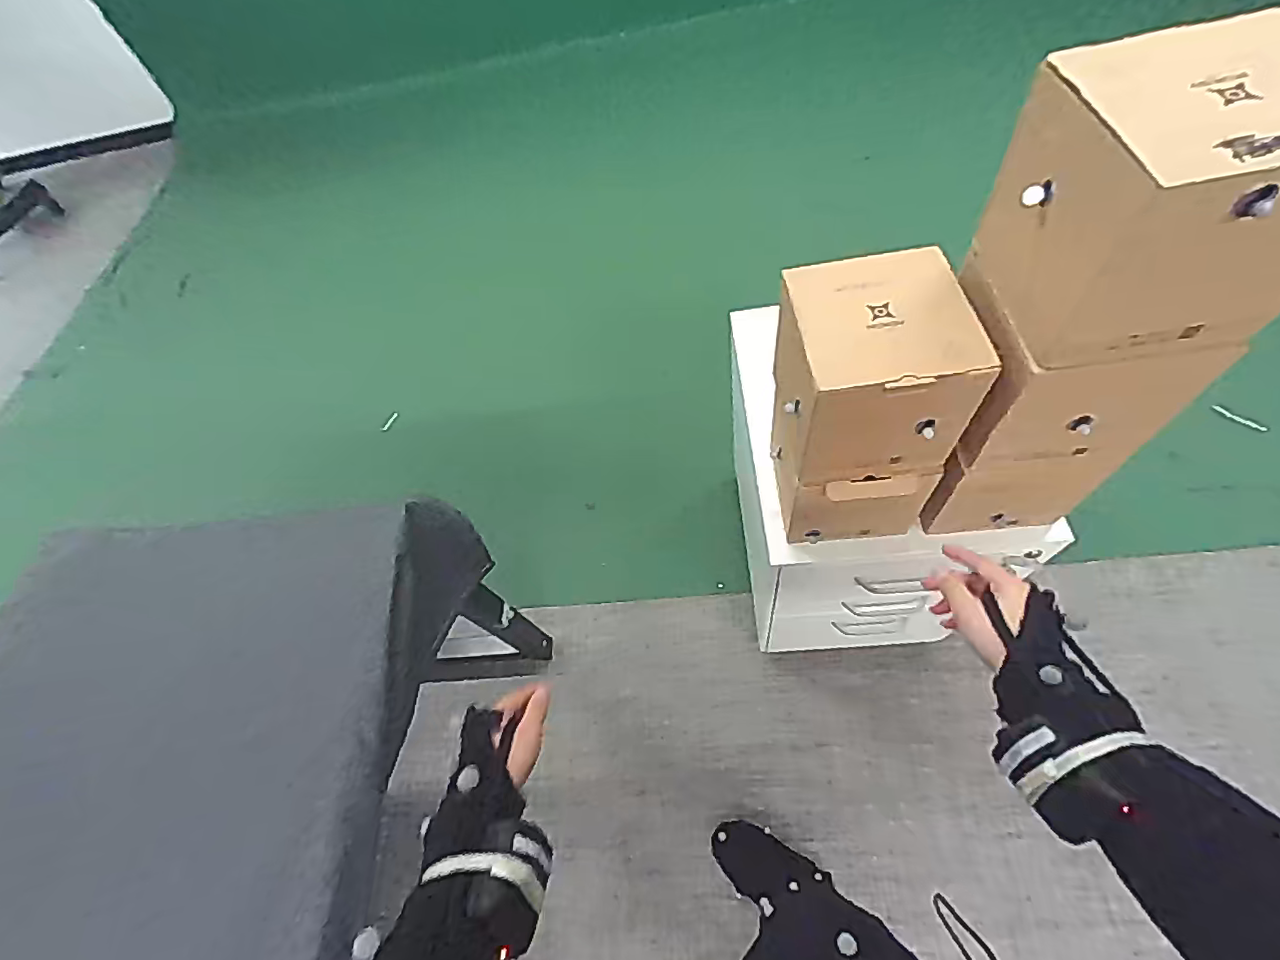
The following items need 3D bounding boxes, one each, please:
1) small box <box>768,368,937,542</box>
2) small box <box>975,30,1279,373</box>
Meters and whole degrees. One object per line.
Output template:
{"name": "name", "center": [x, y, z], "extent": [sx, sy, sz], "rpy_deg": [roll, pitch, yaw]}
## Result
{"name": "small box", "center": [0.271, -0.024, 0.735], "extent": [0.168, 0.176, 0.179], "rpy_deg": [-5, 58, 6]}
{"name": "small box", "center": [0.408, -0.214, 0.436], "extent": [0.168, 0.176, 0.179], "rpy_deg": [-7, 58, 7]}
